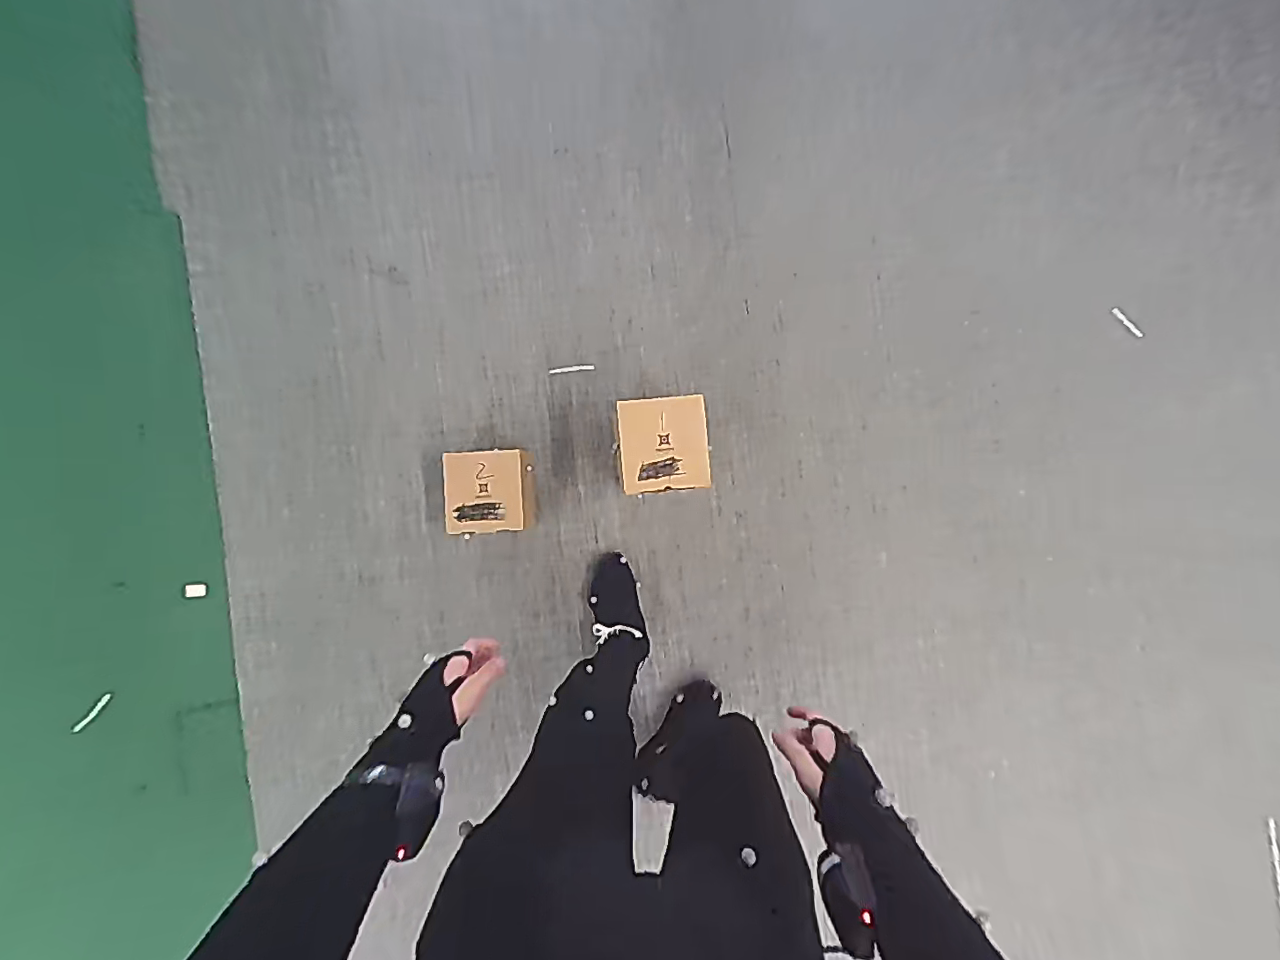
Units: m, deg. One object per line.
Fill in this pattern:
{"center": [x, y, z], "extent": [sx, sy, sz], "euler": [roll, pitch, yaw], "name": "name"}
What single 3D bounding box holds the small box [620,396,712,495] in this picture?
{"center": [0.049, -0.065, 1.094], "extent": [0.168, 0.176, 0.179], "euler": [-5, 89, -2], "name": "small box"}
